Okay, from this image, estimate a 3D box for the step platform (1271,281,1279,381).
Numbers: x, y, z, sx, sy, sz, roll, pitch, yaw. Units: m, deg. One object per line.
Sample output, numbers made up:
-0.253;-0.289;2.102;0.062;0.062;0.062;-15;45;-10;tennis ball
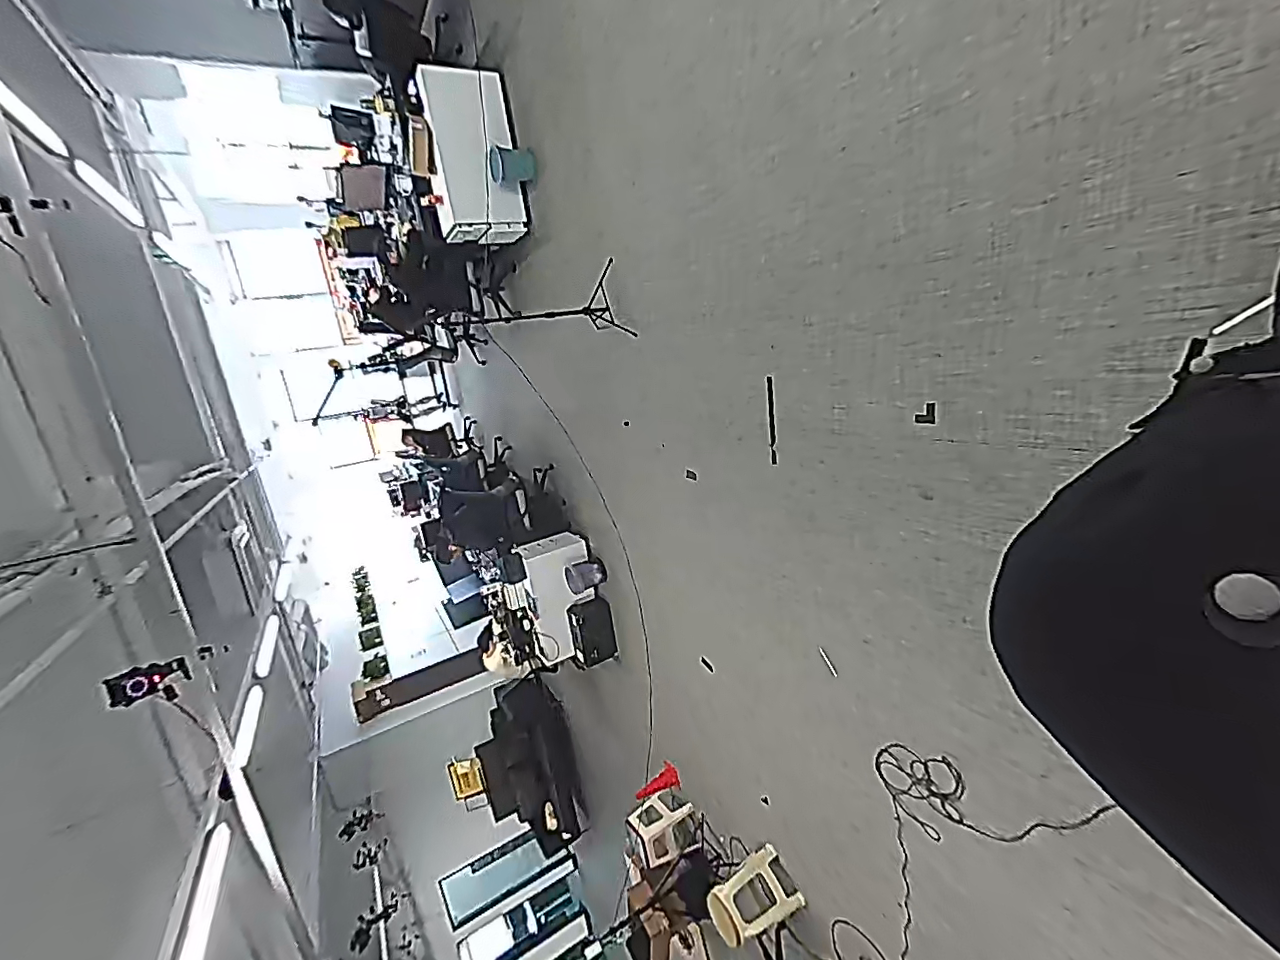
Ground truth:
1.381;-0.280;0.733;0.684;0.204;0.286;13;116;59;step platform
